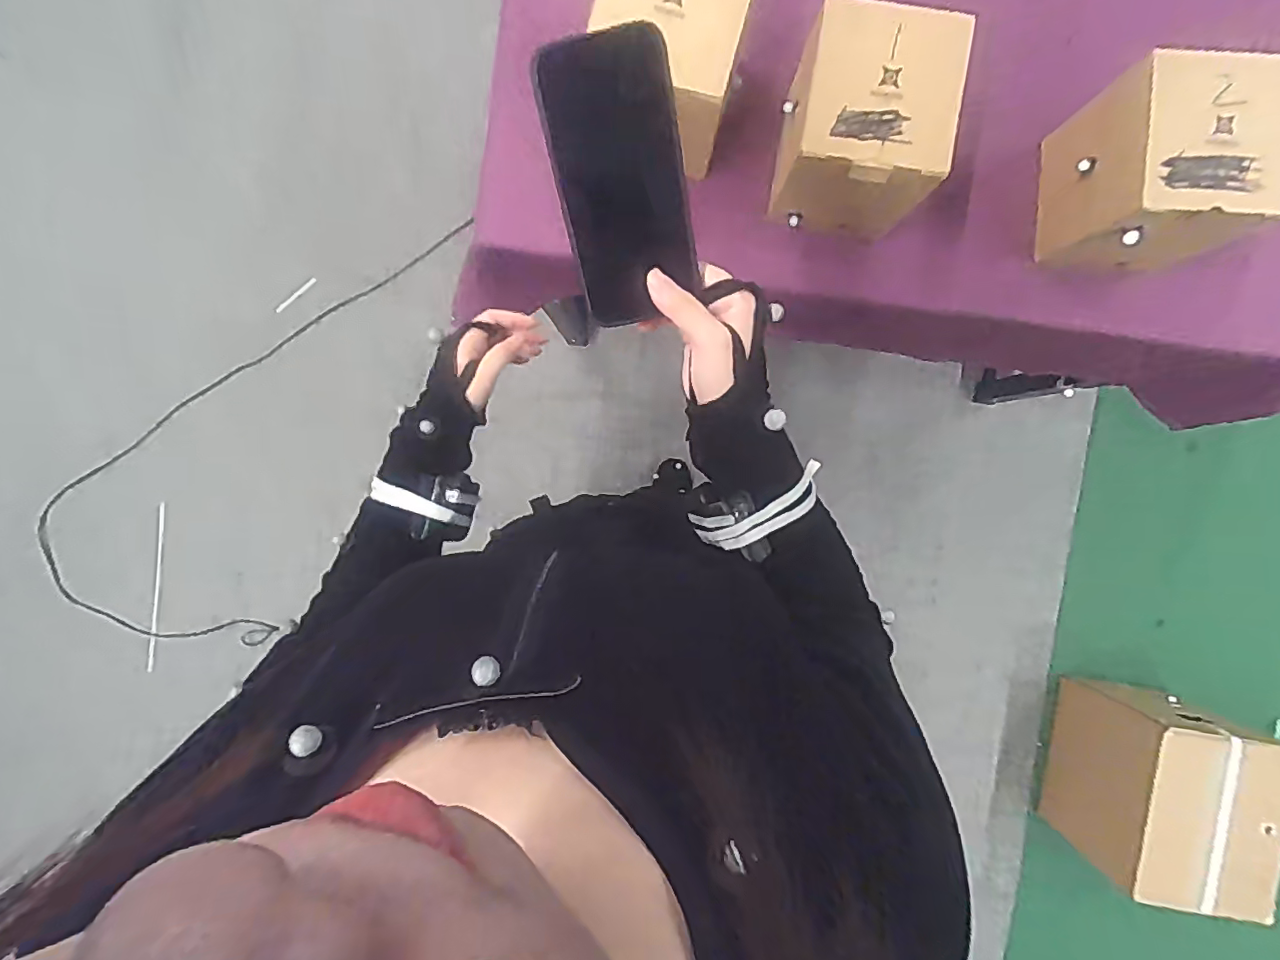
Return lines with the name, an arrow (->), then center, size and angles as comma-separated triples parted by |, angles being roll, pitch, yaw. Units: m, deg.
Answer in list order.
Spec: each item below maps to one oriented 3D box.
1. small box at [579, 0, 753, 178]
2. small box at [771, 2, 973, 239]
small box -> 0.035, -0.513, 0.669 | 0.168, 0.176, 0.179 | 16, 93, 0
small box -> 0.269, -0.425, 0.670 | 0.168, 0.176, 0.179 | 9, 91, 0
